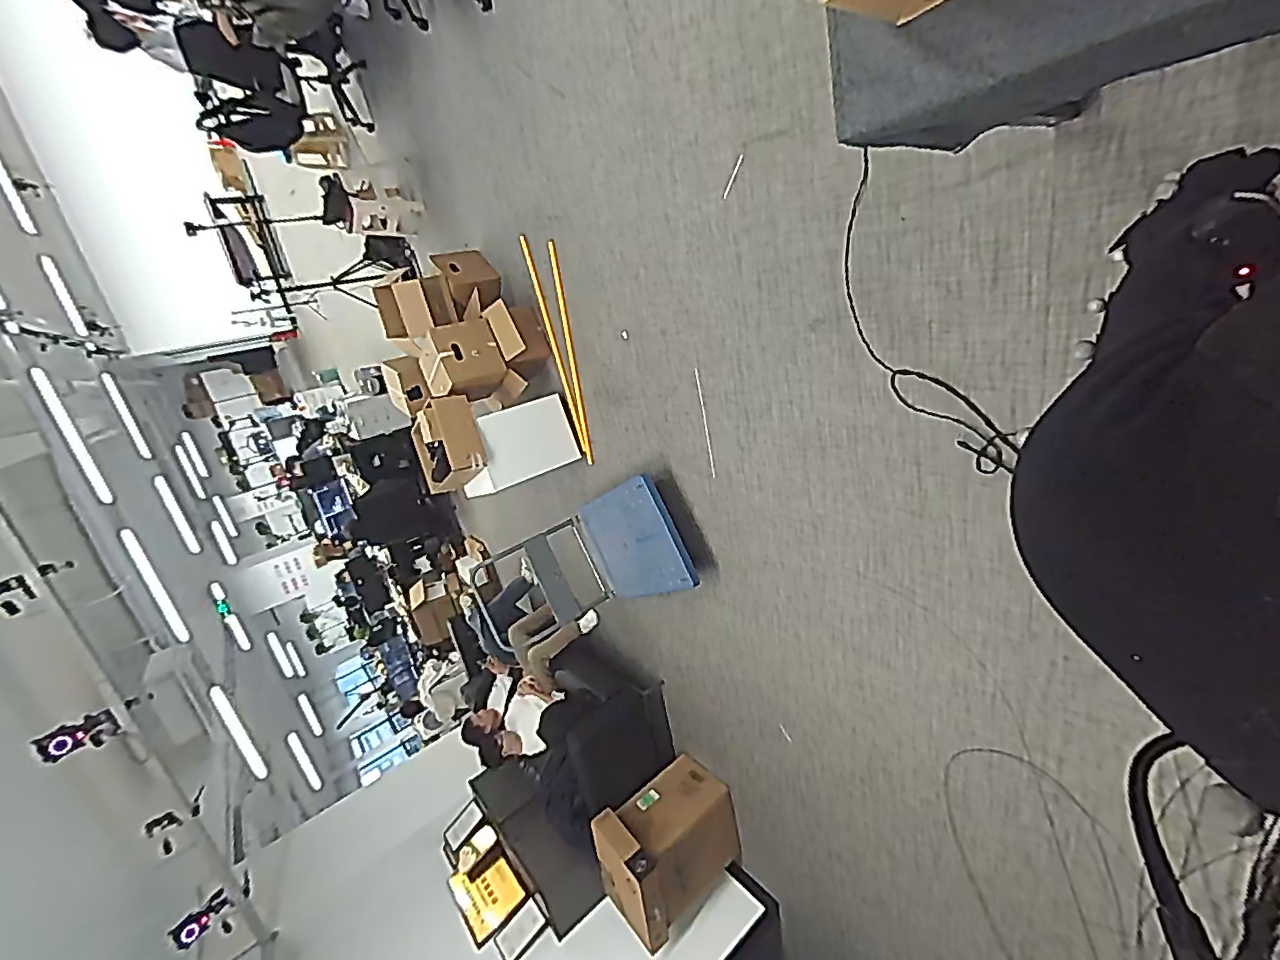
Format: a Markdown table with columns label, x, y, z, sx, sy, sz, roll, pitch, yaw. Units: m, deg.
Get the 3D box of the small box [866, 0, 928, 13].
| label | x | y | z | sx | sy | sz | roll | pitch | yaw |
| --- | --- | --- | --- | --- | --- | --- | --- | --- | --- |
| small box | 0.281 | -0.603 | 0.522 | 0.168 | 0.176 | 0.179 | 10 | 119 | 52 |
